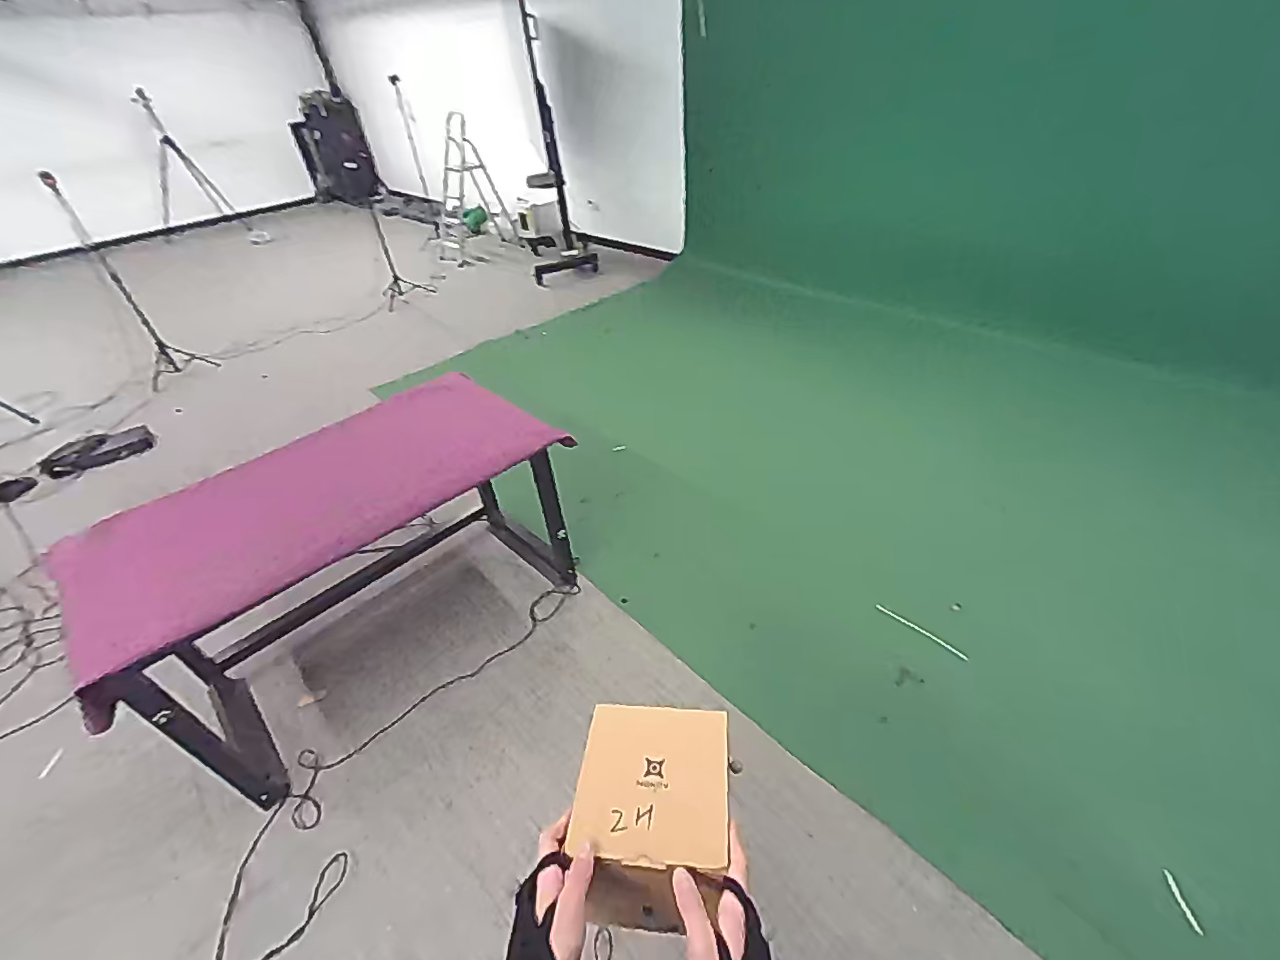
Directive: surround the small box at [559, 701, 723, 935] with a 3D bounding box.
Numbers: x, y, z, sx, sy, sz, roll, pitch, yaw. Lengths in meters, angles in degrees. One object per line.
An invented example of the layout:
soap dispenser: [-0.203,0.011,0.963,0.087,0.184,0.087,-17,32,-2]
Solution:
small box: [0.014,0.394,0.644,0.168,0.176,0.179,0,33,9]
